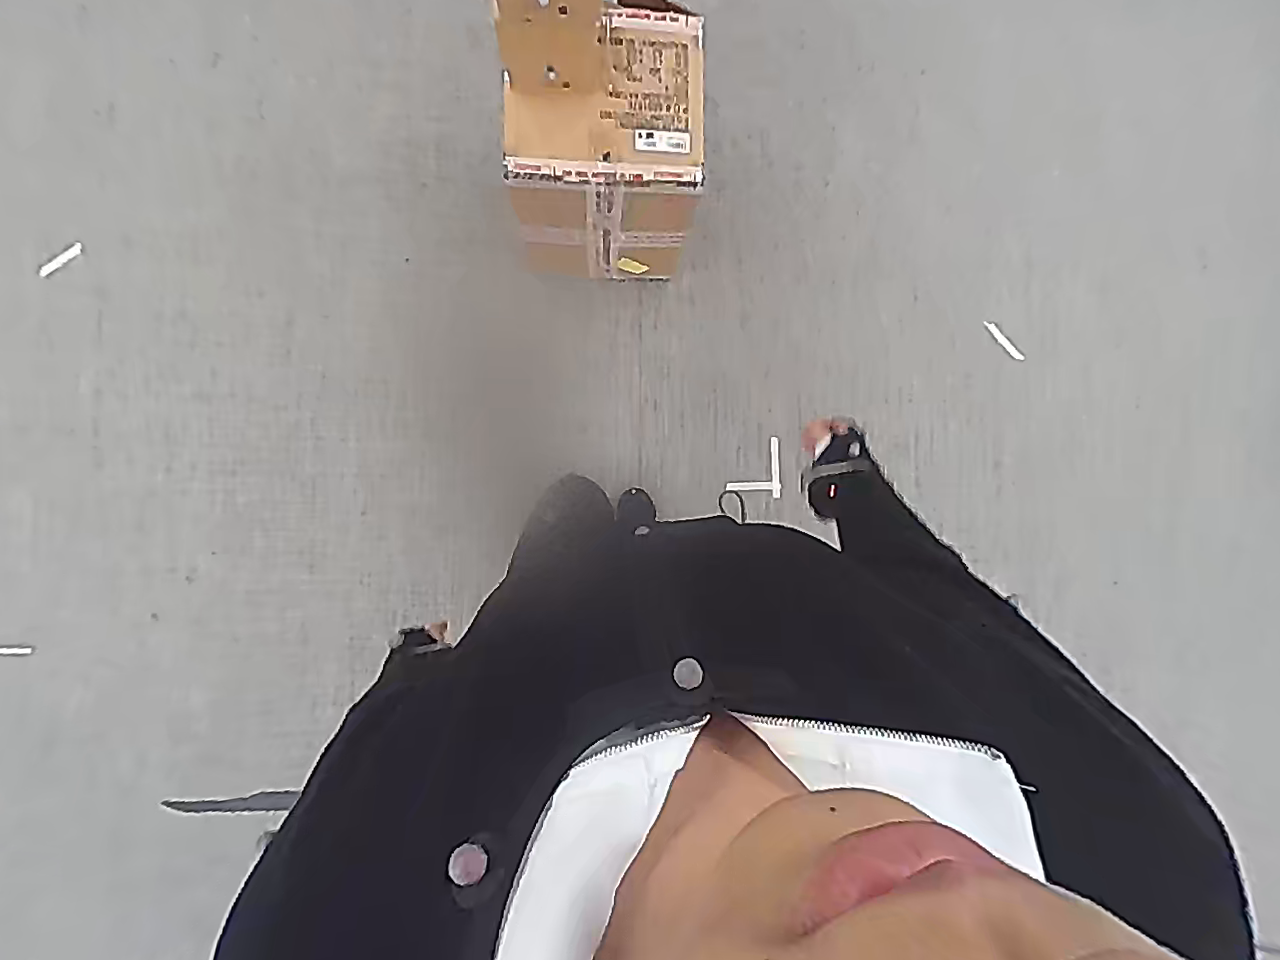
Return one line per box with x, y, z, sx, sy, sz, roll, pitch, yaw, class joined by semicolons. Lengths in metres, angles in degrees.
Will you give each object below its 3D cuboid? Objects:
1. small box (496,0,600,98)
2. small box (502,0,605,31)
-0.157;-0.820;0.955;0.168;0.176;0.179;-3;91;-2;small box
-0.134;-0.817;0.791;0.168;0.176;0.179;1;91;-2;small box
